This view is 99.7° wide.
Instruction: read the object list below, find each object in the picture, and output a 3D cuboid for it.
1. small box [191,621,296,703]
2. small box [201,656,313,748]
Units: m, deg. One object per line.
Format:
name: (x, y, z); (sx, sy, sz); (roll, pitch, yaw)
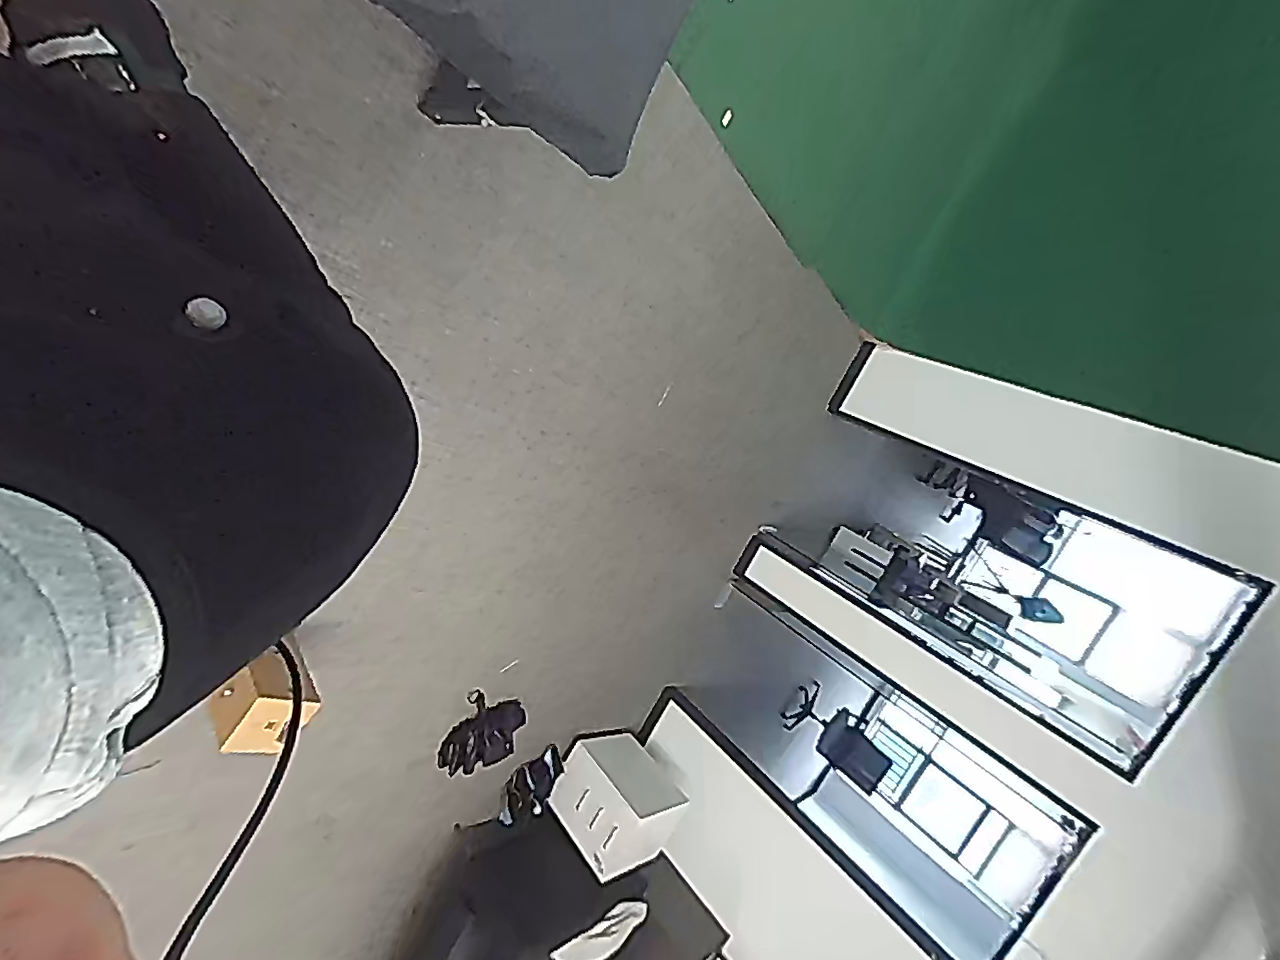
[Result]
small box: (-1.161, 0.535, 1.581); (0.168, 0.176, 0.179); (-56, 142, -3)
small box: (-1.051, 0.607, 1.482); (0.168, 0.176, 0.179); (-56, 142, -4)
